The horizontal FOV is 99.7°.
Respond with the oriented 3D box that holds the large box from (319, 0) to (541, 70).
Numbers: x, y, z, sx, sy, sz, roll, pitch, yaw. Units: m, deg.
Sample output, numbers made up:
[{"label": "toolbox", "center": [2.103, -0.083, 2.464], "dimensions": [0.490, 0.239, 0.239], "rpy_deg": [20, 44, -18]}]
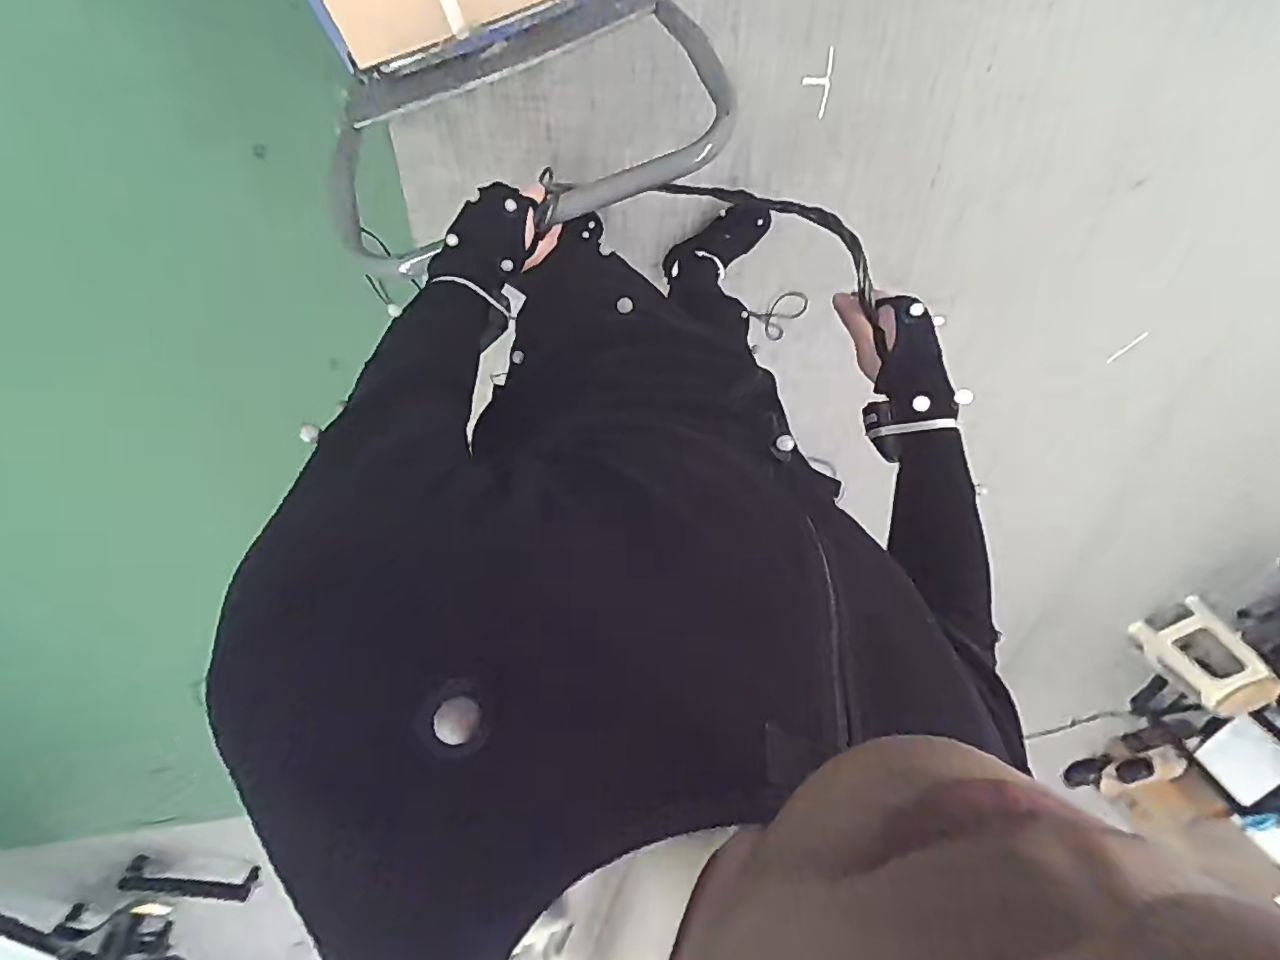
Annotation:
[{"label": "large box", "center": [-0.340, -0.865, 0.718], "dimensions": [0.320, 0.320, 0.408], "rpy_deg": [-18, 140, 2]}]
